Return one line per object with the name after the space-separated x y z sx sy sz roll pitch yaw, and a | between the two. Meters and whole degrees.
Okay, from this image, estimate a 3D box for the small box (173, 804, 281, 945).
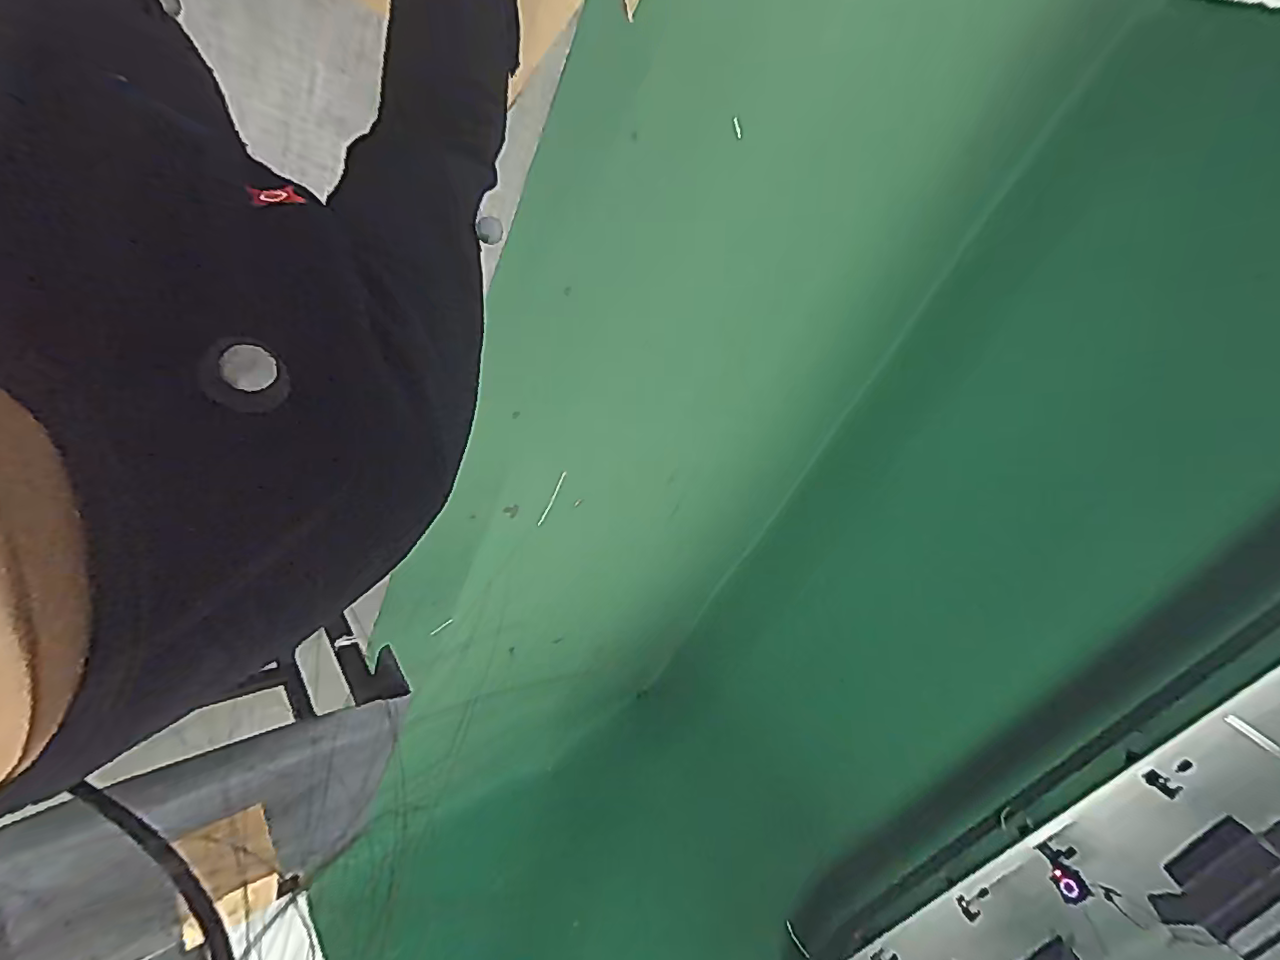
-0.932 0.879 1.221 0.168 0.176 0.179 -9 135 -46 | small box
